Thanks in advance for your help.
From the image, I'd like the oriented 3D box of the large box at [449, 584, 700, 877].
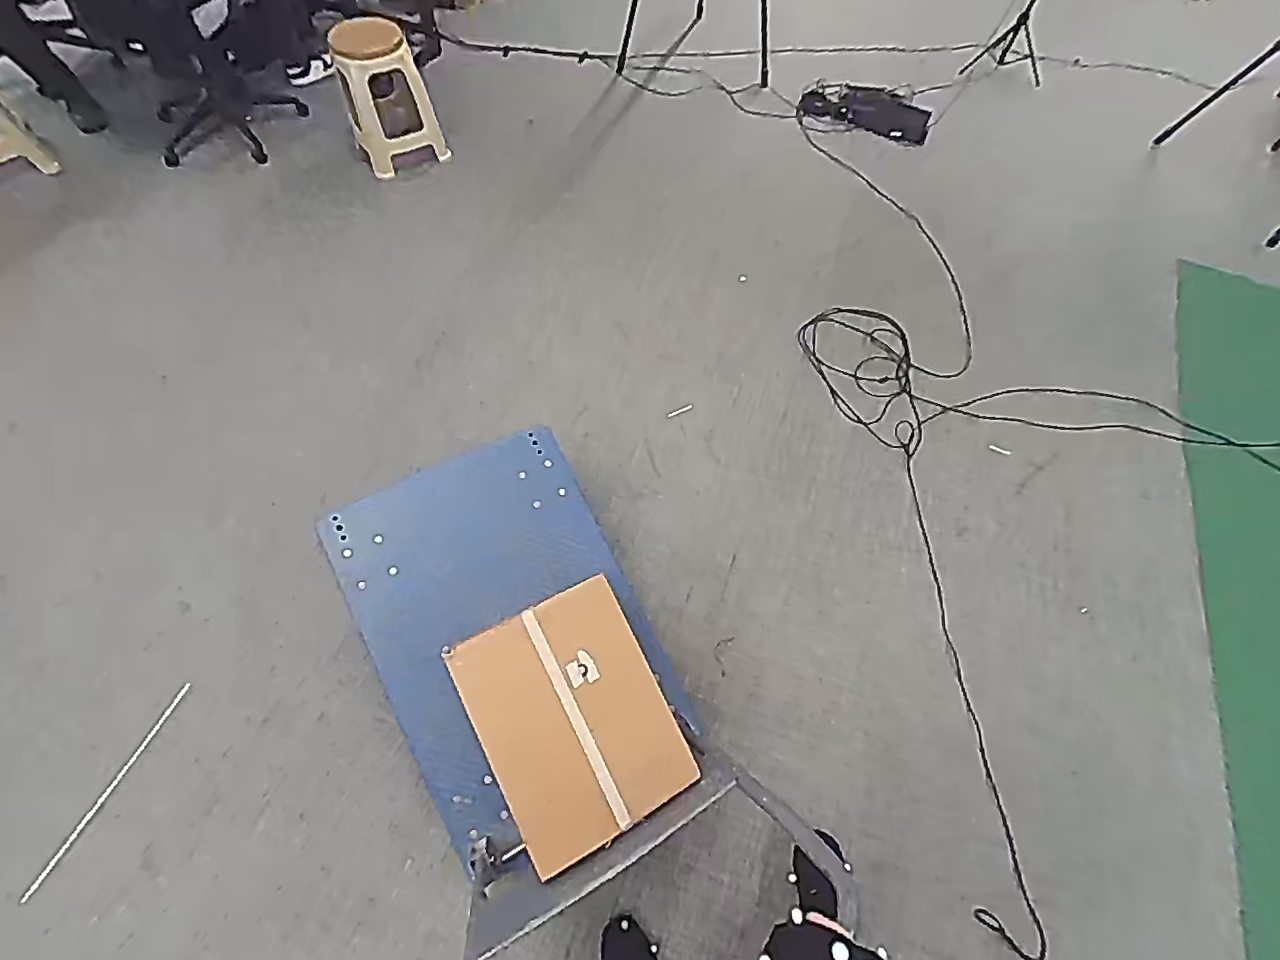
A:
[{"bbox_3d":[-0.137,0.467,1.107,0.320,0.320,0.408,-26,82,-16],"label":"large box"}]
